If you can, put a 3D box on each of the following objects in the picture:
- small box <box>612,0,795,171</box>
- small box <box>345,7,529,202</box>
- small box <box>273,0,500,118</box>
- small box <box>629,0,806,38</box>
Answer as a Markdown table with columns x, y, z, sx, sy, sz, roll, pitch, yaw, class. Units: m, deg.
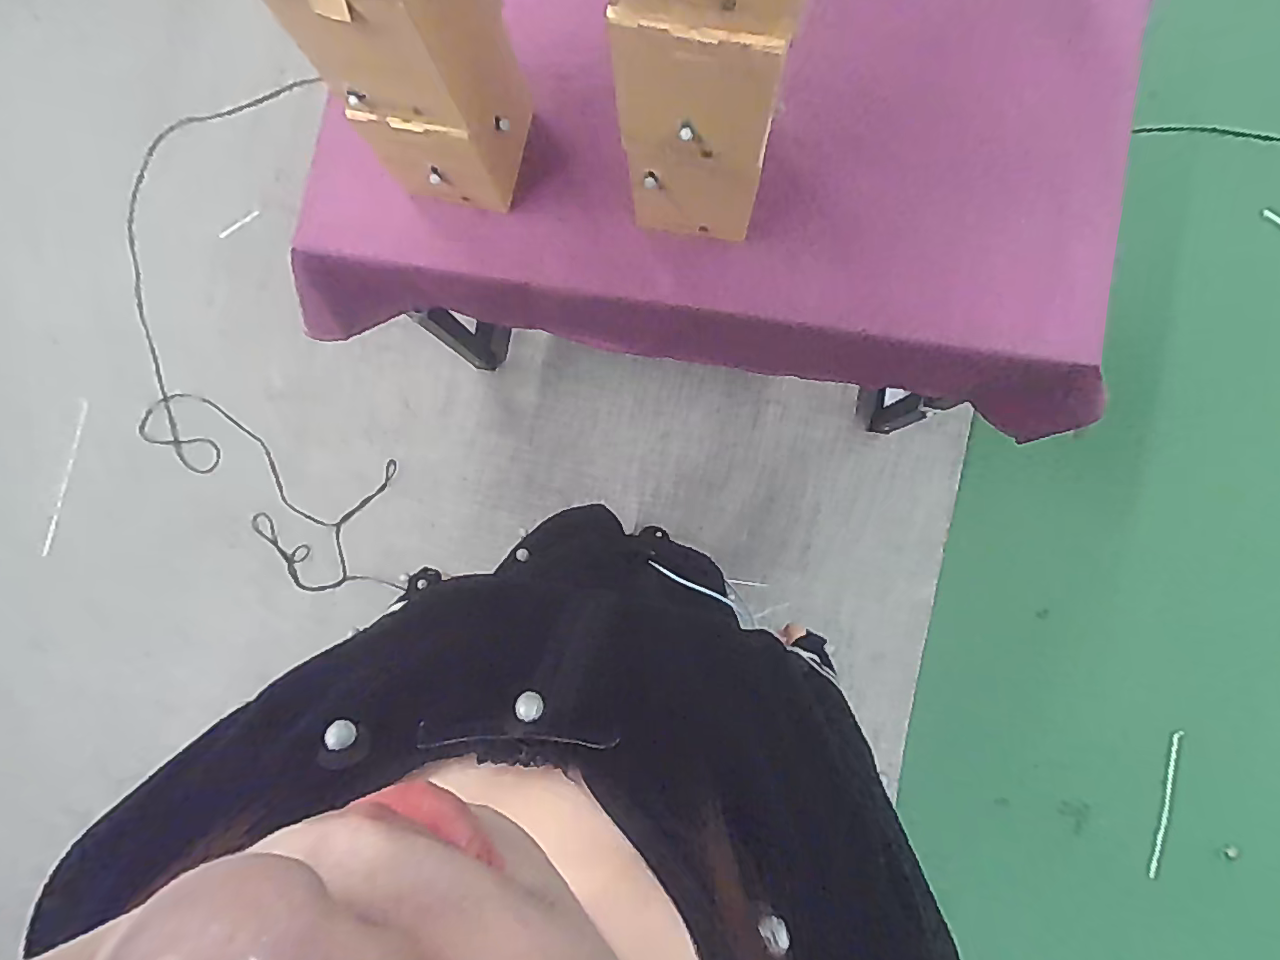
| x | y | z | sx | sy | sz | roll | pitch | yaw | class |
| --- | --- | --- | --- | --- | --- | --- | --- | --- | --- |
| 0.076 | -0.470 | 0.565 | 0.168 | 0.176 | 0.179 | 15 | 87 | 4 | small box |
| -0.265 | -0.521 | 0.747 | 0.168 | 0.176 | 0.179 | 13 | 88 | 2 | small box |
| -0.267 | -0.538 | 0.583 | 0.168 | 0.176 | 0.179 | 14 | 86 | 3 | small box |
| 0.074 | -0.492 | 0.403 | 0.168 | 0.176 | 0.179 | 12 | 87 | 3 | small box |
